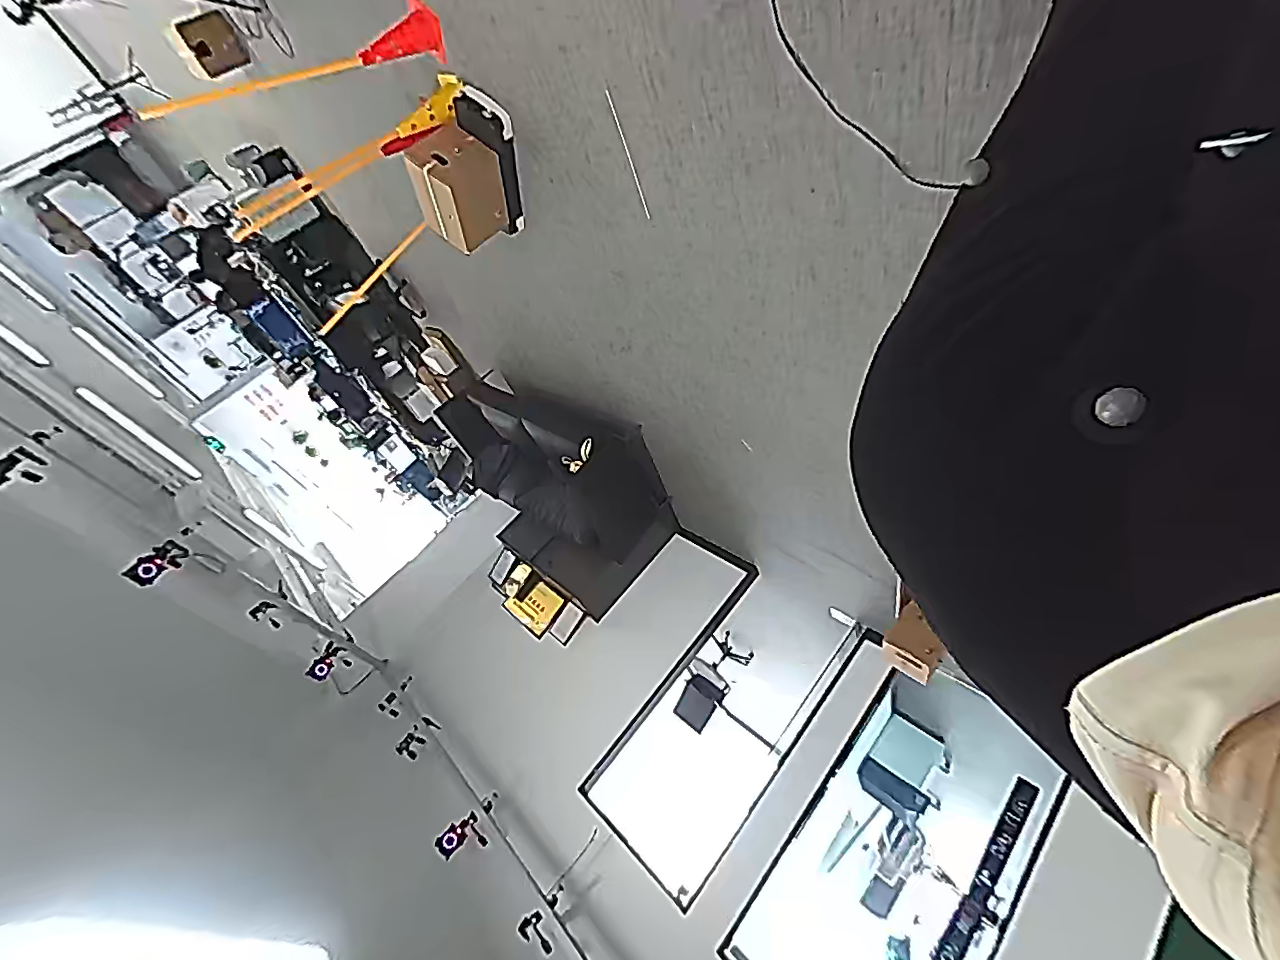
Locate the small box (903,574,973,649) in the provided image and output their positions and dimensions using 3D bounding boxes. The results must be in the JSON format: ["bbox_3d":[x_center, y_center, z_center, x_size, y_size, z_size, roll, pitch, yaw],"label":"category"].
[{"bbox_3d":[1.100,0.483,1.997,0.168,0.176,0.179,29,155,38],"label":"small box"}]
